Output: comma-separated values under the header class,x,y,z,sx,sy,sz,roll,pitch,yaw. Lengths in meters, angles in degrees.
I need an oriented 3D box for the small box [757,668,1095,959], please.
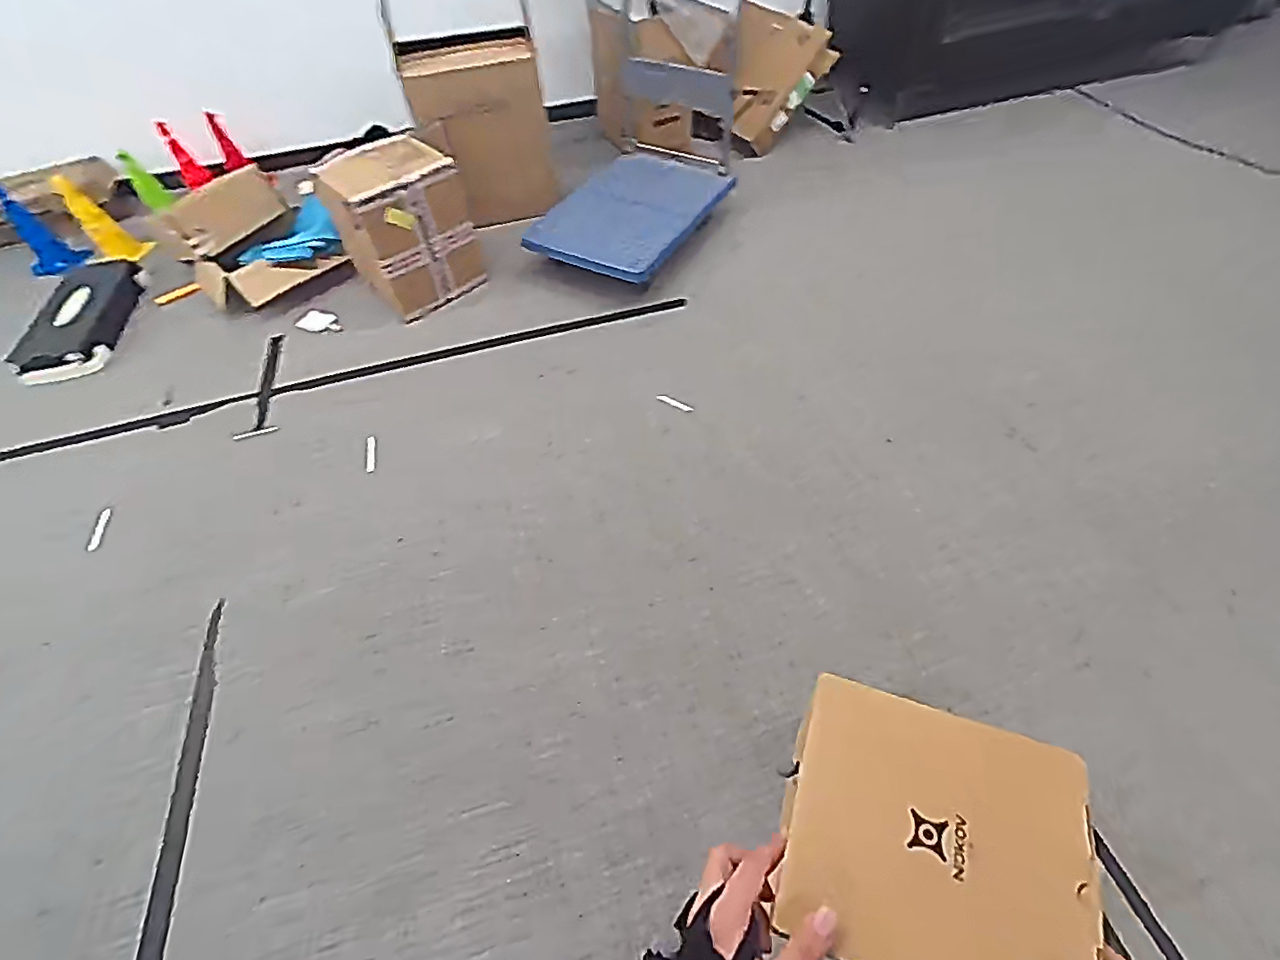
class,x,y,z,sx,sy,sz,roll,pitch,yaw
small box,0.192,0.271,0.404,0.179,0.176,0.168,14,55,18
